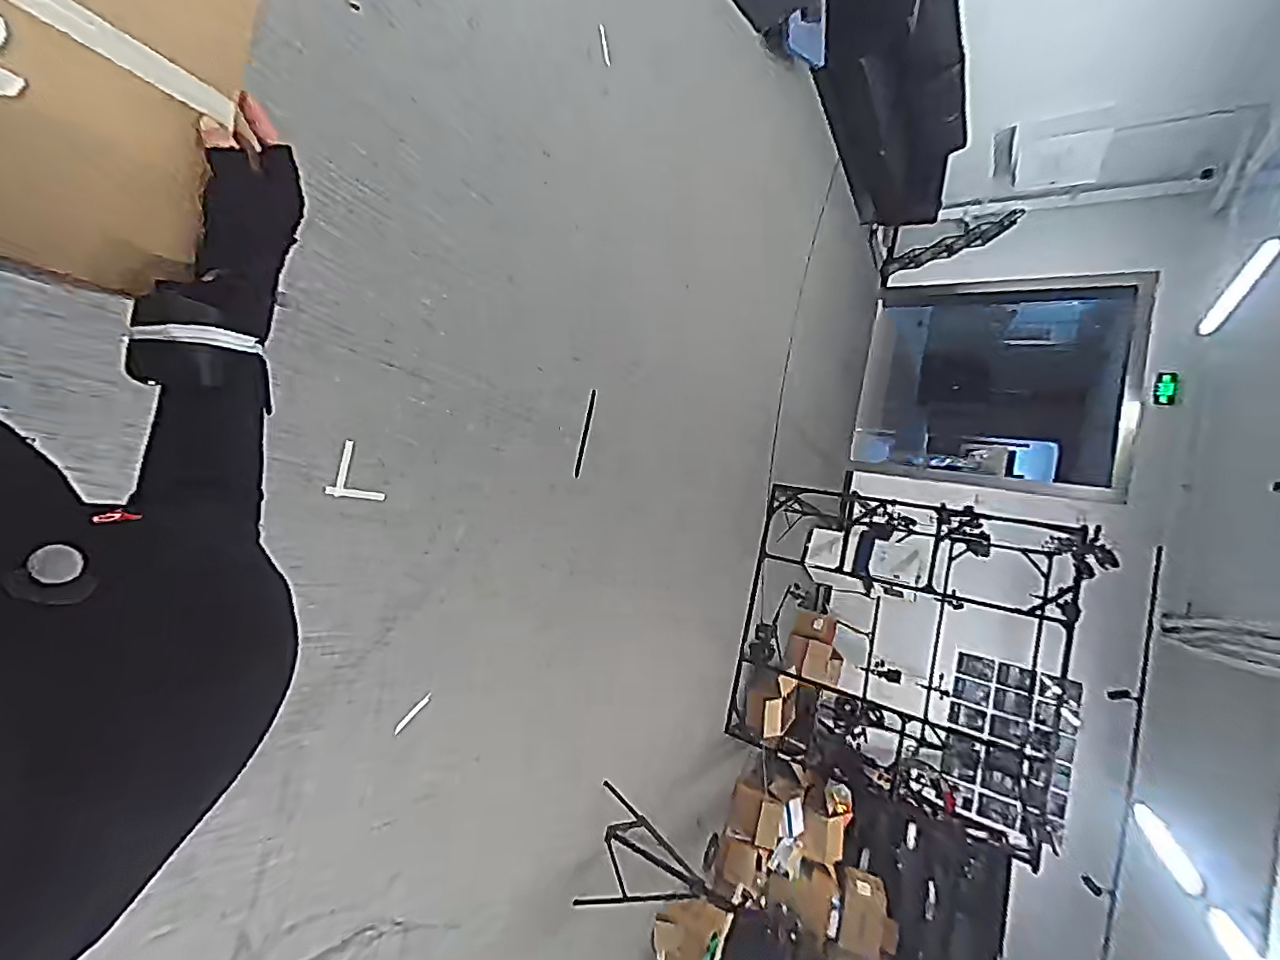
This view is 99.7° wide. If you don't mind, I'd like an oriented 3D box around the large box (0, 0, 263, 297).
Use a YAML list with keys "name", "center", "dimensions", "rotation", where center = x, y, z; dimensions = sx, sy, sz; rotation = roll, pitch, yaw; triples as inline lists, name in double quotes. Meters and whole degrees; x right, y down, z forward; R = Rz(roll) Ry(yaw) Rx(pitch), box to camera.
- name: "large box"
  center: [-0.546, -0.346, 0.332]
  dimensions: [0.408, 0.320, 0.320]
  rotation: [12, 95, -62]
